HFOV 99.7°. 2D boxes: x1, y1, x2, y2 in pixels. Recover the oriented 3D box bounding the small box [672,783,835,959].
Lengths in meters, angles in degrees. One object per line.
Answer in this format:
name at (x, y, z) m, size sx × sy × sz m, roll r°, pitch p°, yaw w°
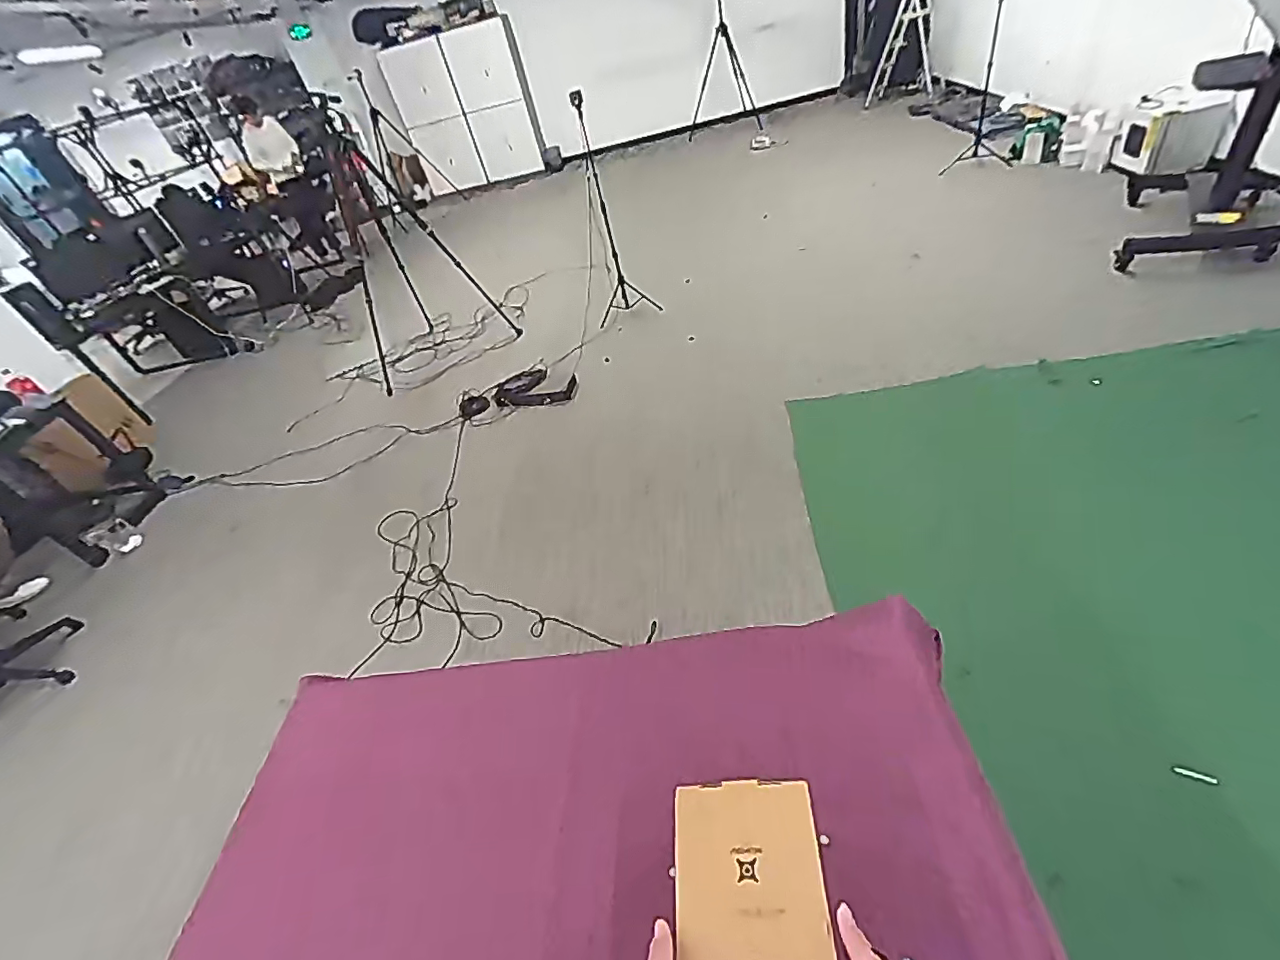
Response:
small box at (0.135, 0.493, 0.654) m, size 0.168 × 0.176 × 0.179 m, roll -9°, pitch 40°, yaw 11°
